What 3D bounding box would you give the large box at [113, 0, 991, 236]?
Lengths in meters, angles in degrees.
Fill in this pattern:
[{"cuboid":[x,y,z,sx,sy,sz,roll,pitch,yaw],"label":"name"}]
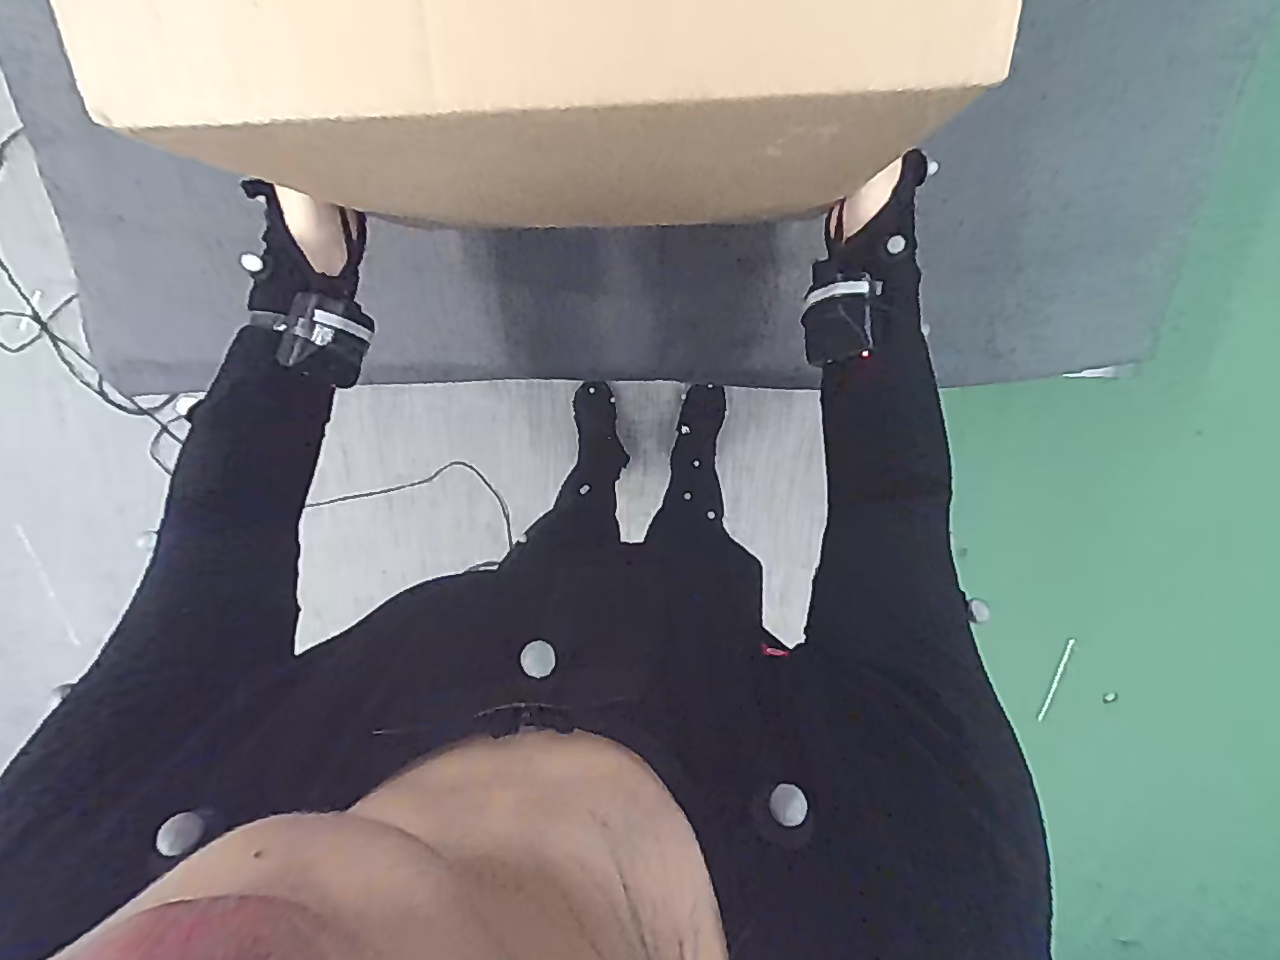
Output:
[{"cuboid":[-0.042,-0.359,0.358,0.408,0.320,0.320,0,107,4],"label":"large box"}]
